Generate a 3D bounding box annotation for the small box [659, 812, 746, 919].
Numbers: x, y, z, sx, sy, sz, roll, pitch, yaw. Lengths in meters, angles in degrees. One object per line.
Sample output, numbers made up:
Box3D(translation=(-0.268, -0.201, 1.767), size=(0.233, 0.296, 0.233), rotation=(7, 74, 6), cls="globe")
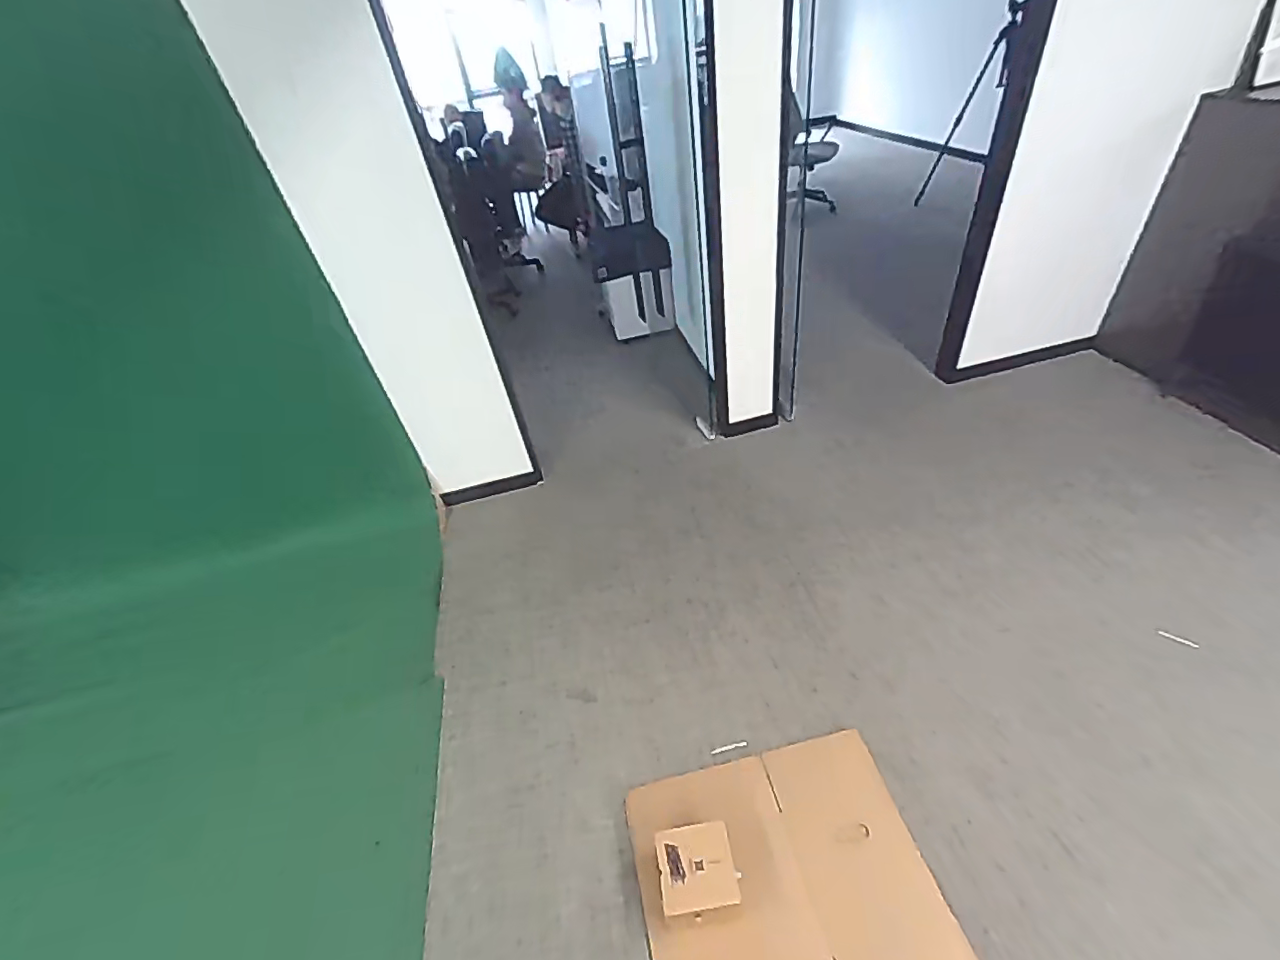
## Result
Box3D(translation=(0.151, 0.930, 1.302), size=(0.179, 0.176, 0.168), rotation=(-10, 41, 0), cls="small box")
